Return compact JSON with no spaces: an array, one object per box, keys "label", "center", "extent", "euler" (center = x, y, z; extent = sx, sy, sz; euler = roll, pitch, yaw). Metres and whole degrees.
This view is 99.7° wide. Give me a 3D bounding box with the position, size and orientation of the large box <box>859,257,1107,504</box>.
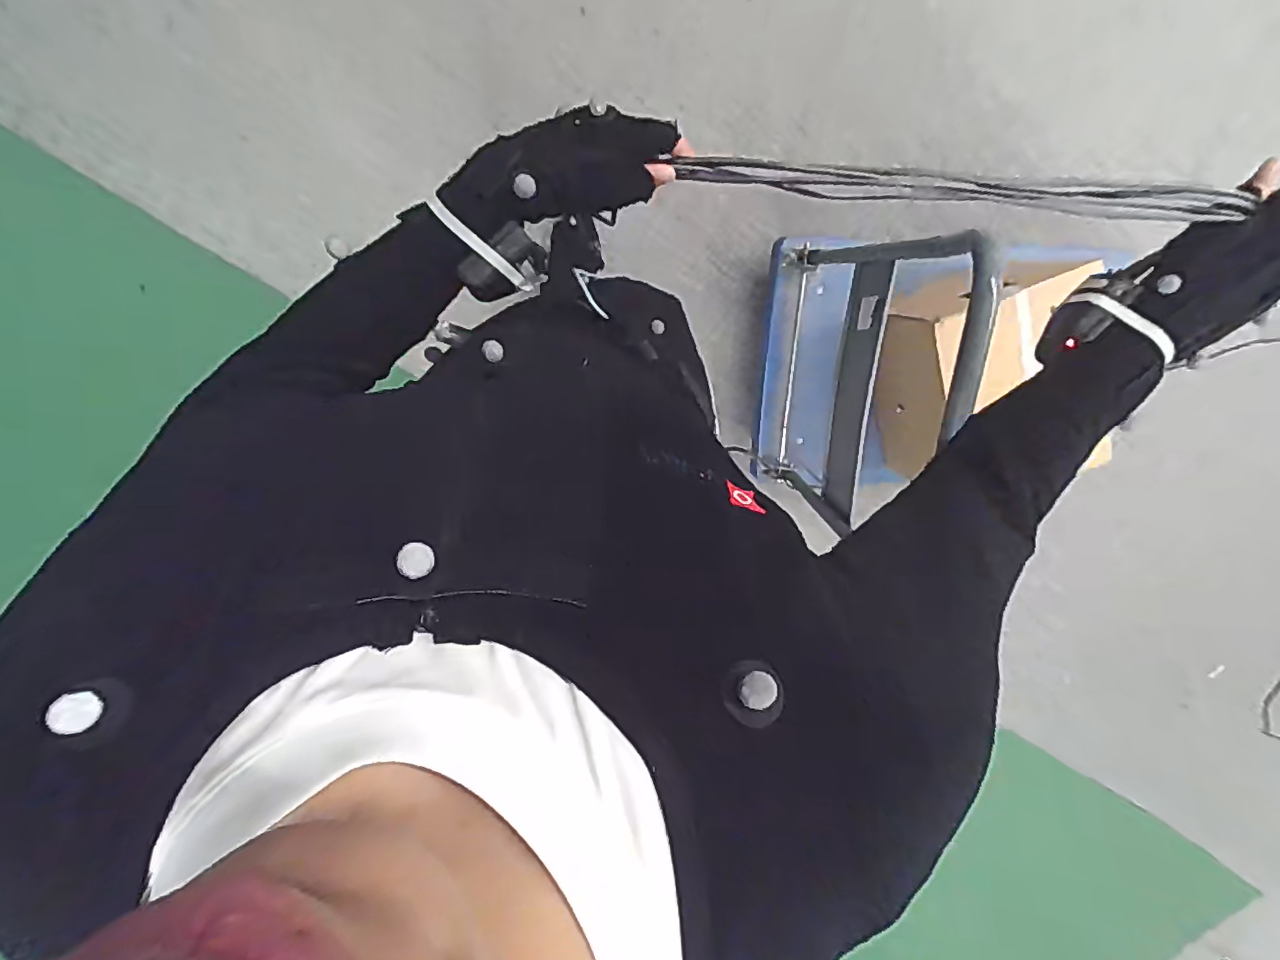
[{"label":"large box","center":[0.723,-0.222,1.174],"extent":[0.320,0.320,0.408],"euler":[-20,110,2]}]
